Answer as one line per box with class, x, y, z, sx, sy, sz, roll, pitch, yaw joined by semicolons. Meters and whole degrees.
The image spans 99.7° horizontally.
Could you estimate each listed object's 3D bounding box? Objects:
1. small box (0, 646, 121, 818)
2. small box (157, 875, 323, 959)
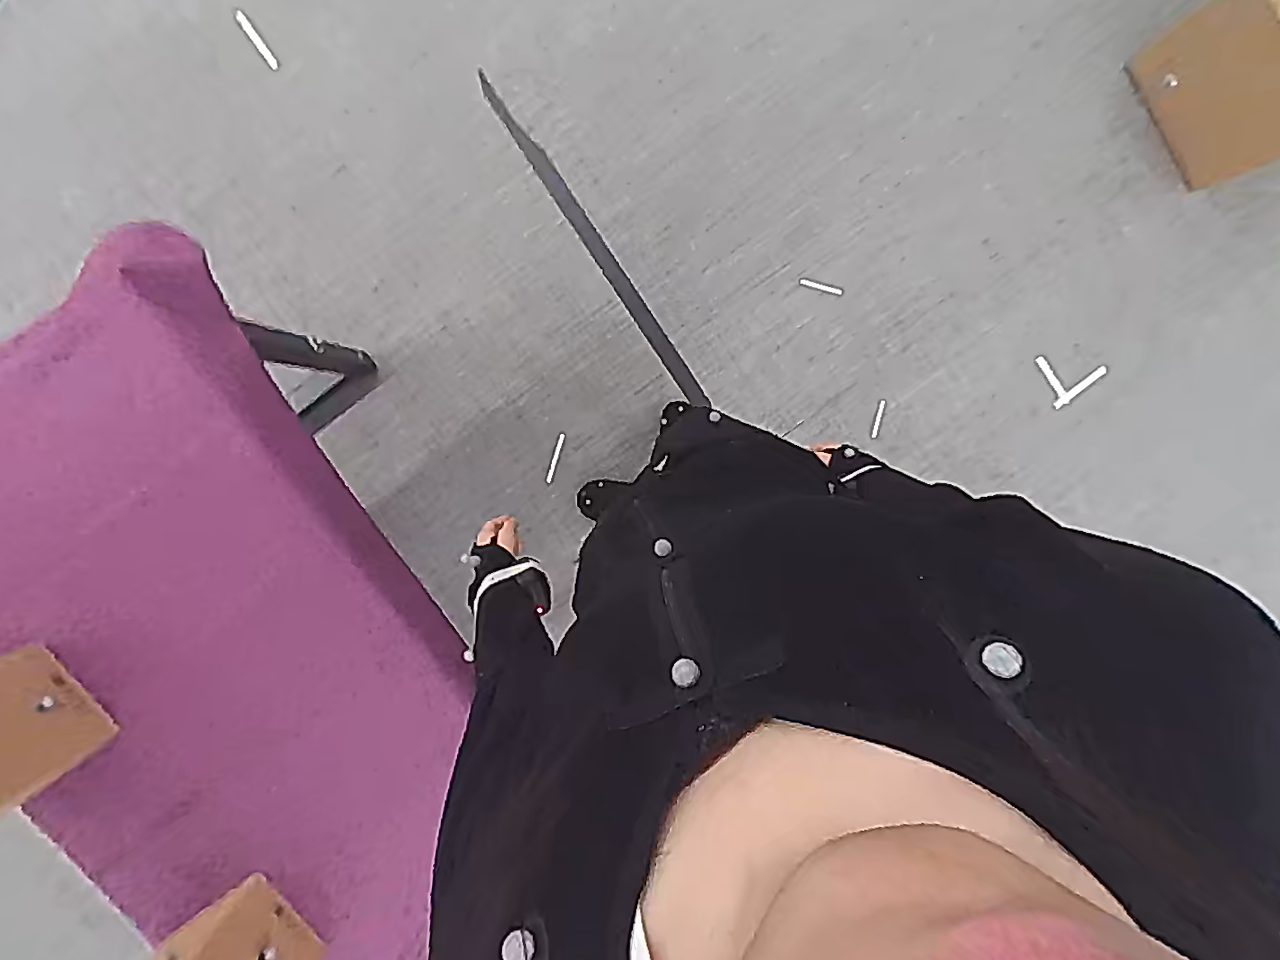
small box;-0.846;0.349;0.689;0.179;0.176;0.168;-36;97;0
small box;-0.574;0.701;0.737;0.179;0.176;0.168;-37;96;0
